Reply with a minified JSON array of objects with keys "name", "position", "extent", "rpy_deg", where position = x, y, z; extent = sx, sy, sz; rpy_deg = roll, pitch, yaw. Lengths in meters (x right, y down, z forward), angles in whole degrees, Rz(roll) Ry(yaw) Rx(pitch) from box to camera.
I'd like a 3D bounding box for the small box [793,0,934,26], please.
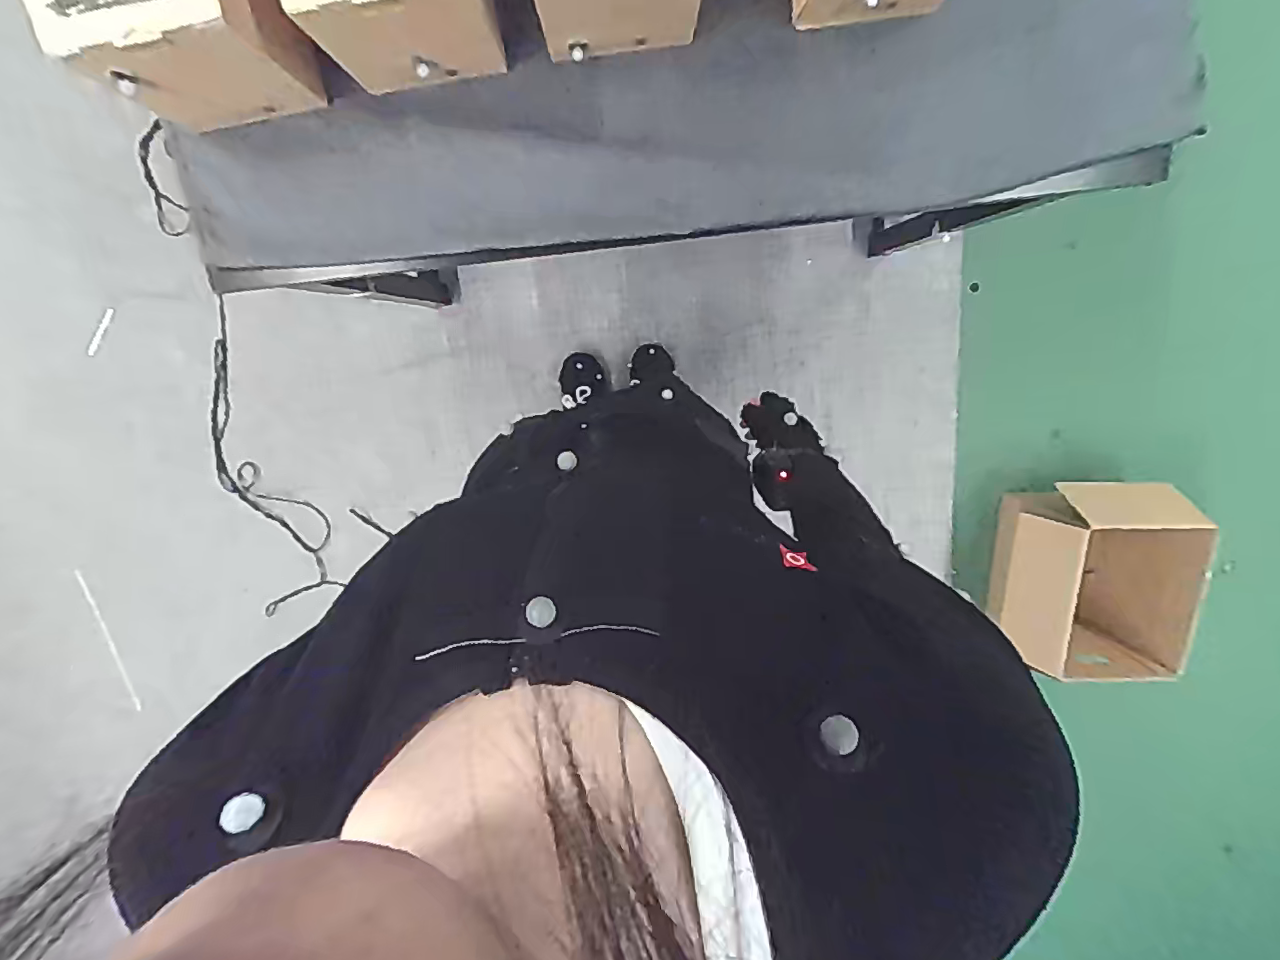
[{"name":"small box","position":[0.247,-0.594,0.523],"extent":[0.168,0.176,0.179],"rpy_deg":[-7,105,1]}]
